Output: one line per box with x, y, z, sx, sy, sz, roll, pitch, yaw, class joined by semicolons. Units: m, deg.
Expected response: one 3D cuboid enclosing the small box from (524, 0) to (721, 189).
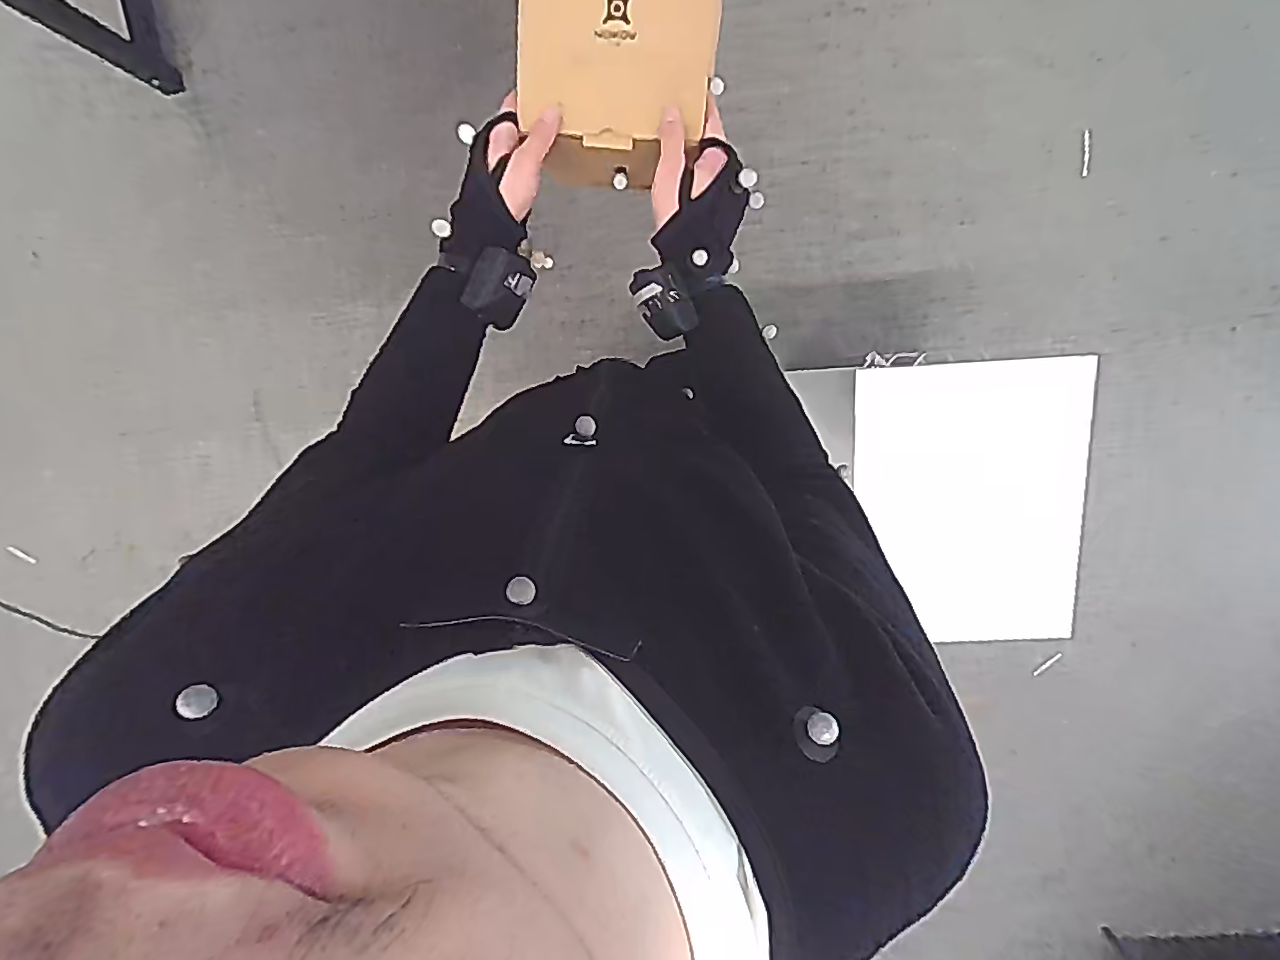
-0.008;-0.401;0.532;0.168;0.176;0.179;4;104;5;small box
